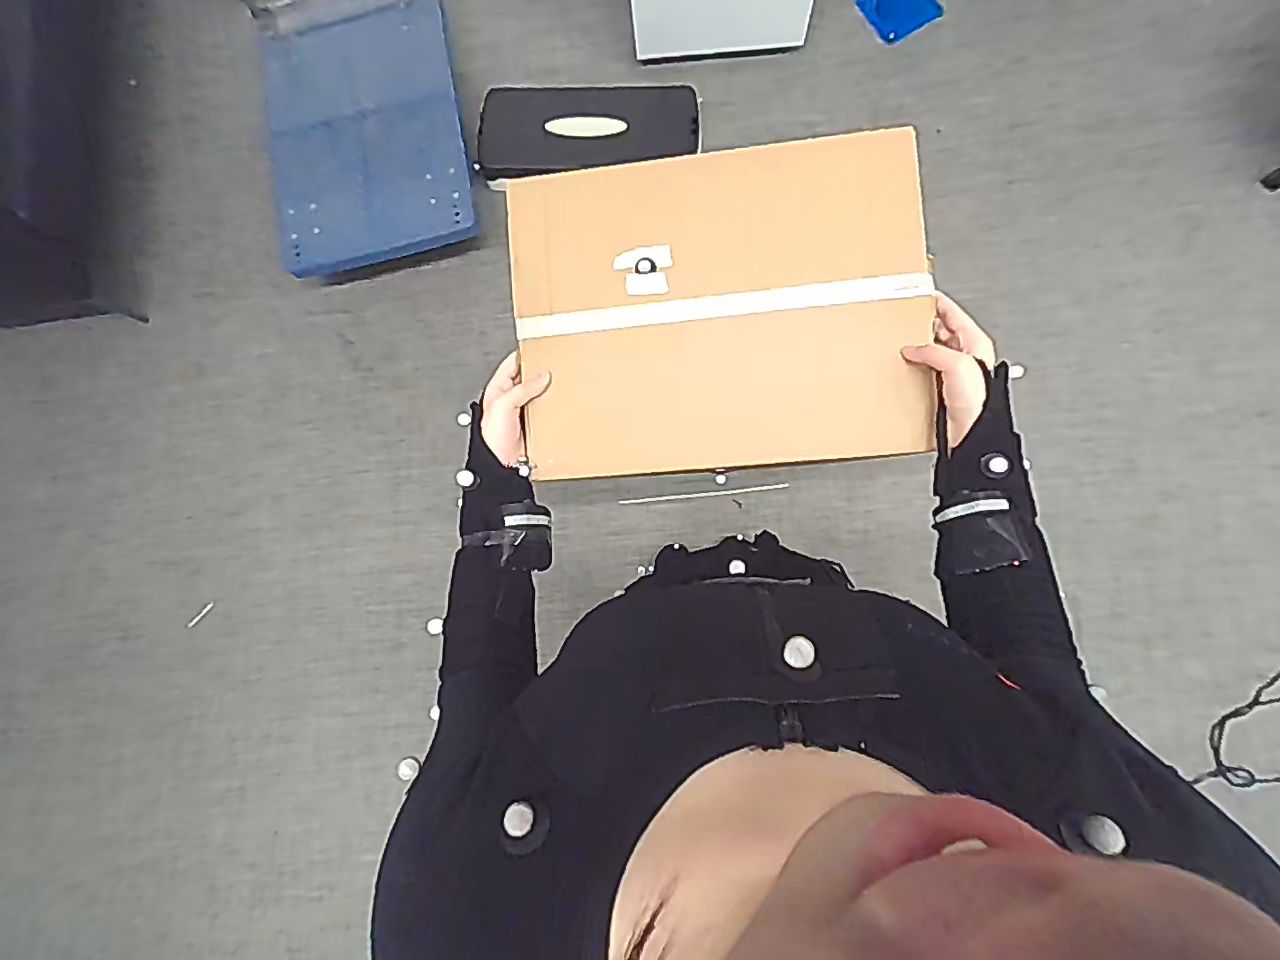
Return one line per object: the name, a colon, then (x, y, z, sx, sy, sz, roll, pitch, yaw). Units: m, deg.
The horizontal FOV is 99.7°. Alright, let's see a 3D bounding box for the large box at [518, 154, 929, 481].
large box: (0.091, -0.201, 0.700, 0.408, 0.320, 0.320, 7, 105, 10)
